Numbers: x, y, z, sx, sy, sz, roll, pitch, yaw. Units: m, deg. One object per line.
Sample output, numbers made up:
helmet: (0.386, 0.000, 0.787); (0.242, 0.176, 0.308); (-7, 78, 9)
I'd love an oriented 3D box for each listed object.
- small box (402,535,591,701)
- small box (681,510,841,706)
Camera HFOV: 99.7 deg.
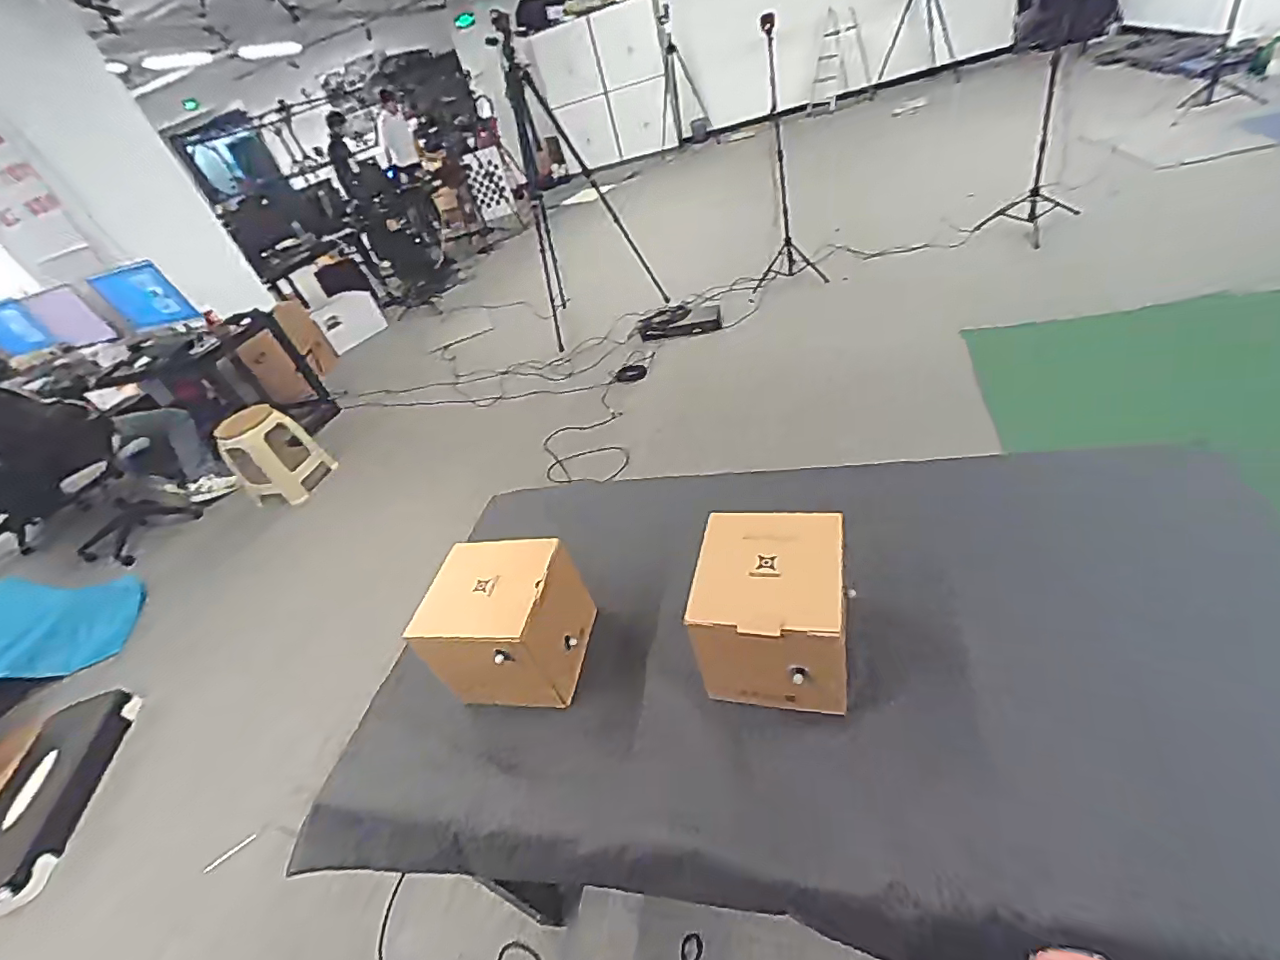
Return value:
small box: (-0.191, 0.197, 0.772); (0.179, 0.176, 0.168); (-5, 40, 17)
small box: (0.162, 0.156, 0.675); (0.168, 0.176, 0.179); (-1, 40, 20)
